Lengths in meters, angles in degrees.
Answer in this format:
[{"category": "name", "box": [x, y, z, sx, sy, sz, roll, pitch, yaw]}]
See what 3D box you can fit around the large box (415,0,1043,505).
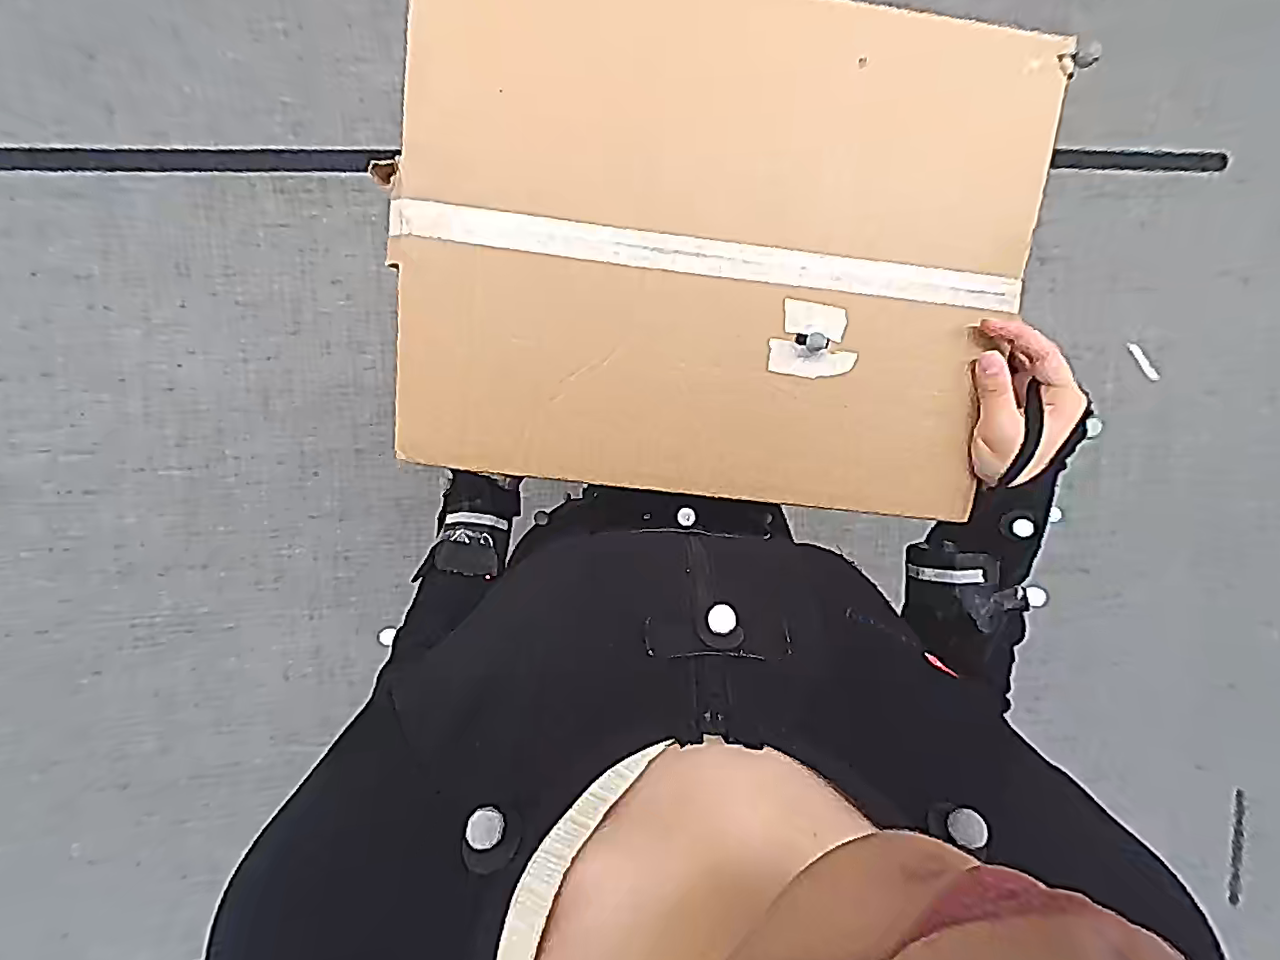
[{"category": "large box", "box": [0.043, -0.170, 0.507, 0.408, 0.320, 0.320, 5, 101, -5]}]
